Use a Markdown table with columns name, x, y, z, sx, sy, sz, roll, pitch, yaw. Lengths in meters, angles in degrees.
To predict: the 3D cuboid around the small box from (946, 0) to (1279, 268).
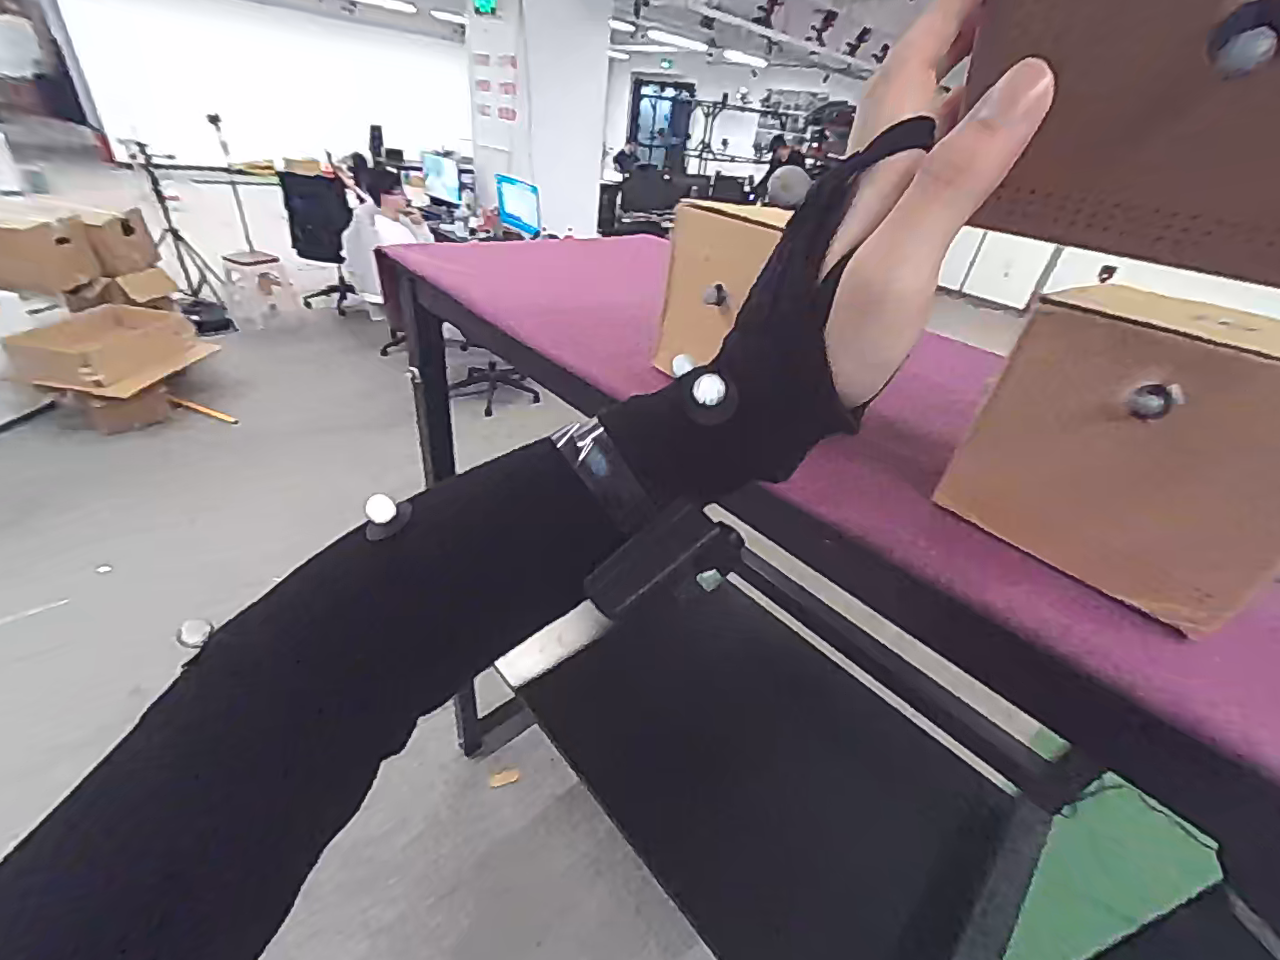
| name | x | y | z | sx | sy | sz | roll | pitch | yaw |
| --- | --- | --- | --- | --- | --- | --- | --- | --- | --- |
| small box | 0.225 | -0.188 | 0.157 | 0.179 | 0.176 | 0.168 | 30 | 82 | 28 |

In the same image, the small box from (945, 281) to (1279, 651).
| name | x | y | z | sx | sy | sz | roll | pitch | yaw |
| --- | --- | --- | --- | --- | --- | --- | --- | --- | --- |
| small box | 0.348 | -0.024 | 0.362 | 0.168 | 0.176 | 0.179 | -17 | 42 | -35 |

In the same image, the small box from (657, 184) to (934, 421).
| name | x | y | z | sx | sy | sz | roll | pitch | yaw |
| --- | --- | --- | --- | --- | --- | --- | --- | --- | --- |
| small box | 0.137 | -0.177 | 0.529 | 0.168 | 0.176 | 0.179 | -19 | 43 | -36 |
